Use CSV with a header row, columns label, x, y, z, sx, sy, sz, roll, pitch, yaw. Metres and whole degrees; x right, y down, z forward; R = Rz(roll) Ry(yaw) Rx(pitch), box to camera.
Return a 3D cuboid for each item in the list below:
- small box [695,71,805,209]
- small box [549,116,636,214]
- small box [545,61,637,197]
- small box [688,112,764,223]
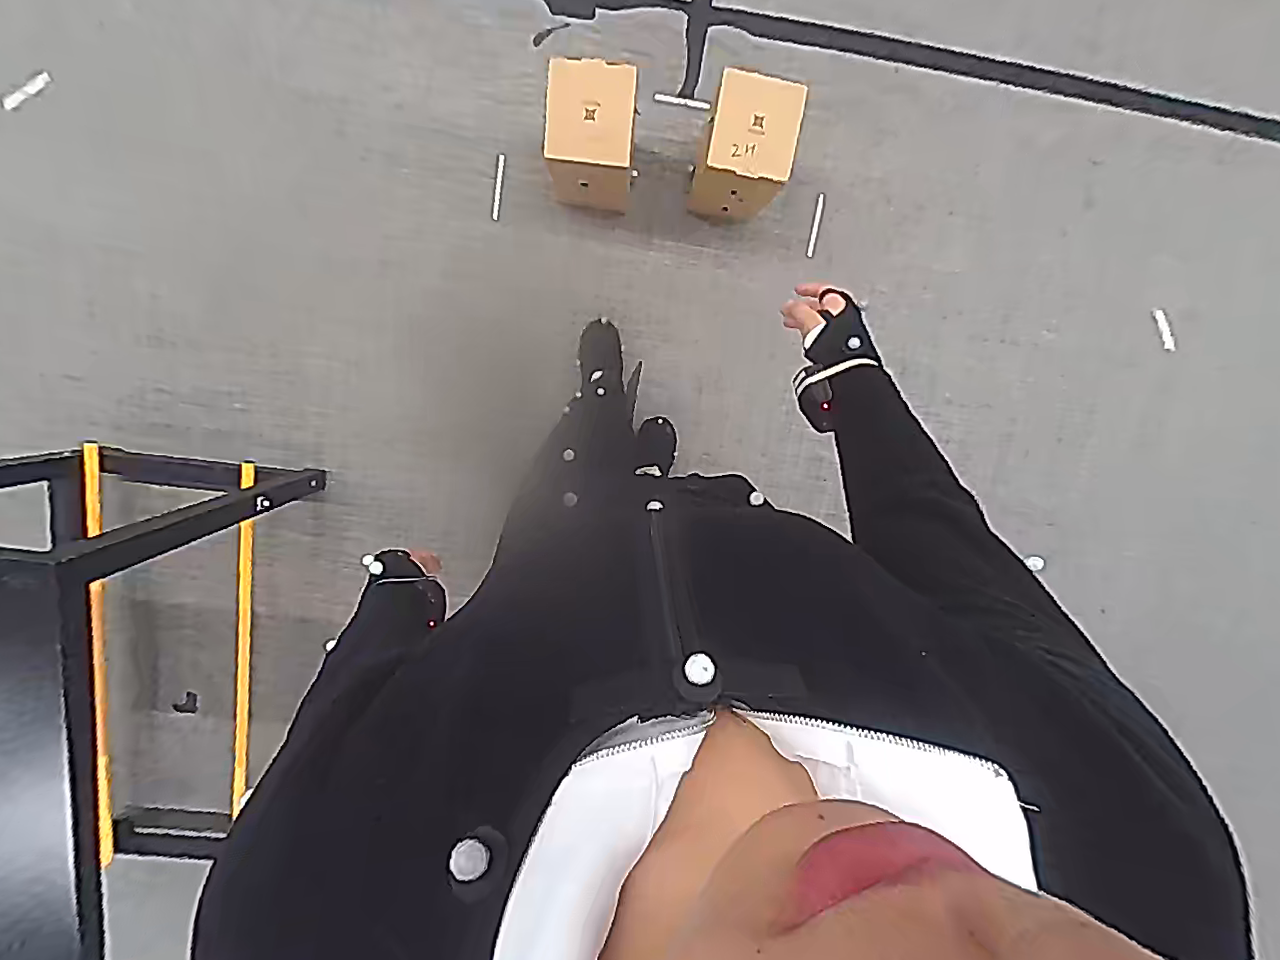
label,x,y,z,sx,sy,sz,roll,pitch,yaw
small box,0.216,-0.688,1.114,0.168,0.176,0.179,10,101,-4
small box,-0.107,-0.735,1.257,0.179,0.176,0.168,6,101,-4
small box,-0.097,-0.701,1.098,0.168,0.176,0.179,4,102,-2
small box,0.213,-0.726,1.275,0.168,0.176,0.179,8,101,-4
